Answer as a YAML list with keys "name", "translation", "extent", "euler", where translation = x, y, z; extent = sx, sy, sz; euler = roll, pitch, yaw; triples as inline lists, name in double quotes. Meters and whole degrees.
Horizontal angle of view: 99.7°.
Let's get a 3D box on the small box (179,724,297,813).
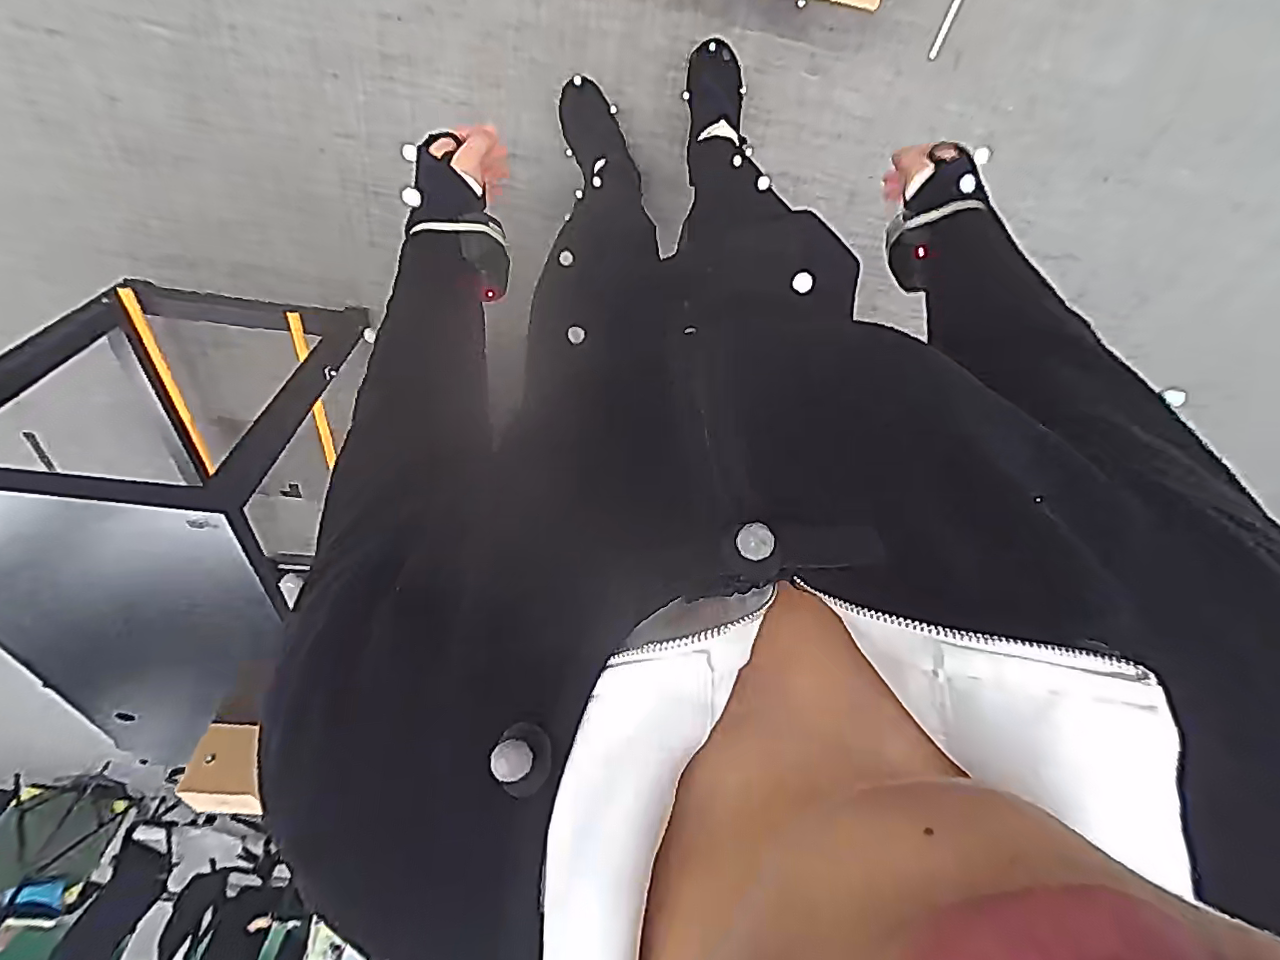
- name: "small box"
  translation: [-1.052, 0.762, 1.431]
  extent: [0.179, 0.176, 0.168]
  euler: [7, 134, -9]
